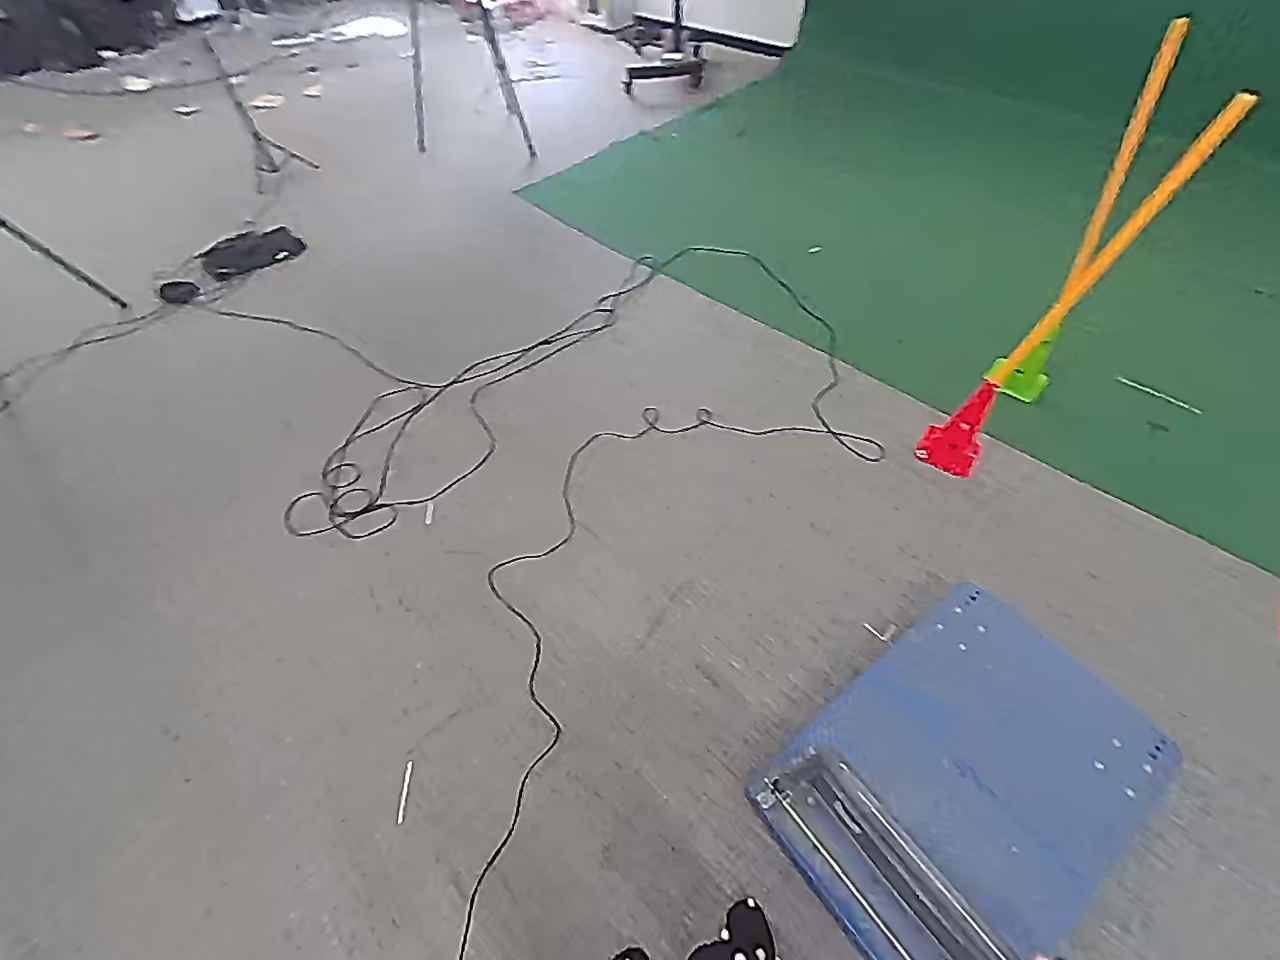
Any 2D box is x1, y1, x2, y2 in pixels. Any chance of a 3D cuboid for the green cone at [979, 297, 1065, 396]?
[{"bbox_3d":[1.530,-0.538,2.099,0.200,0.368,0.202,36,61,26],"label":"green cone"}]
